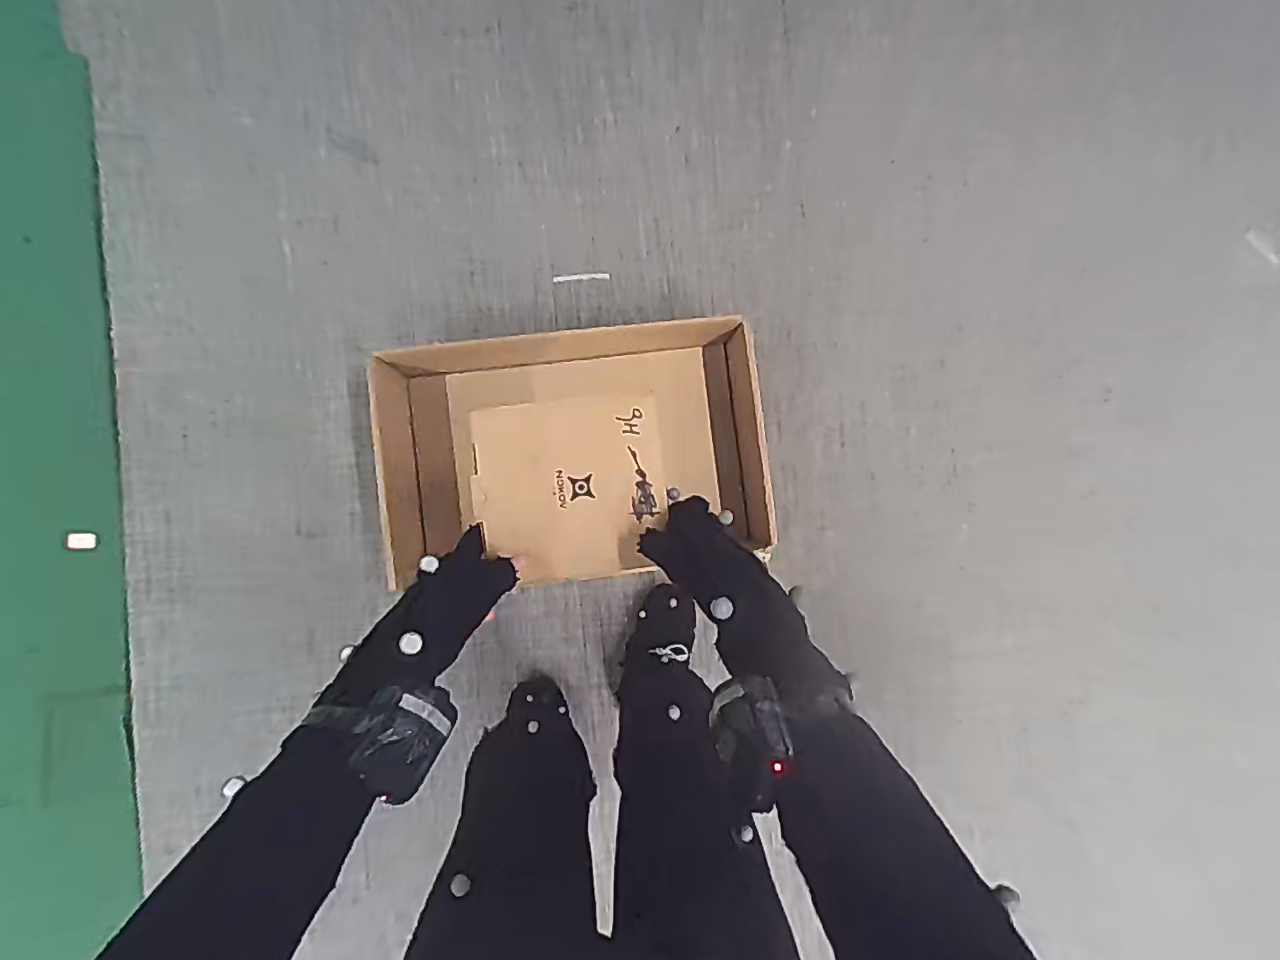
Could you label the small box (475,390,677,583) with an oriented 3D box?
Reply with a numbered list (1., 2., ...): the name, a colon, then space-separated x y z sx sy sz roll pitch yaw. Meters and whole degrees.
1. small box: -0.063 0.009 0.597 0.179 0.176 0.168 -10 89 -3
